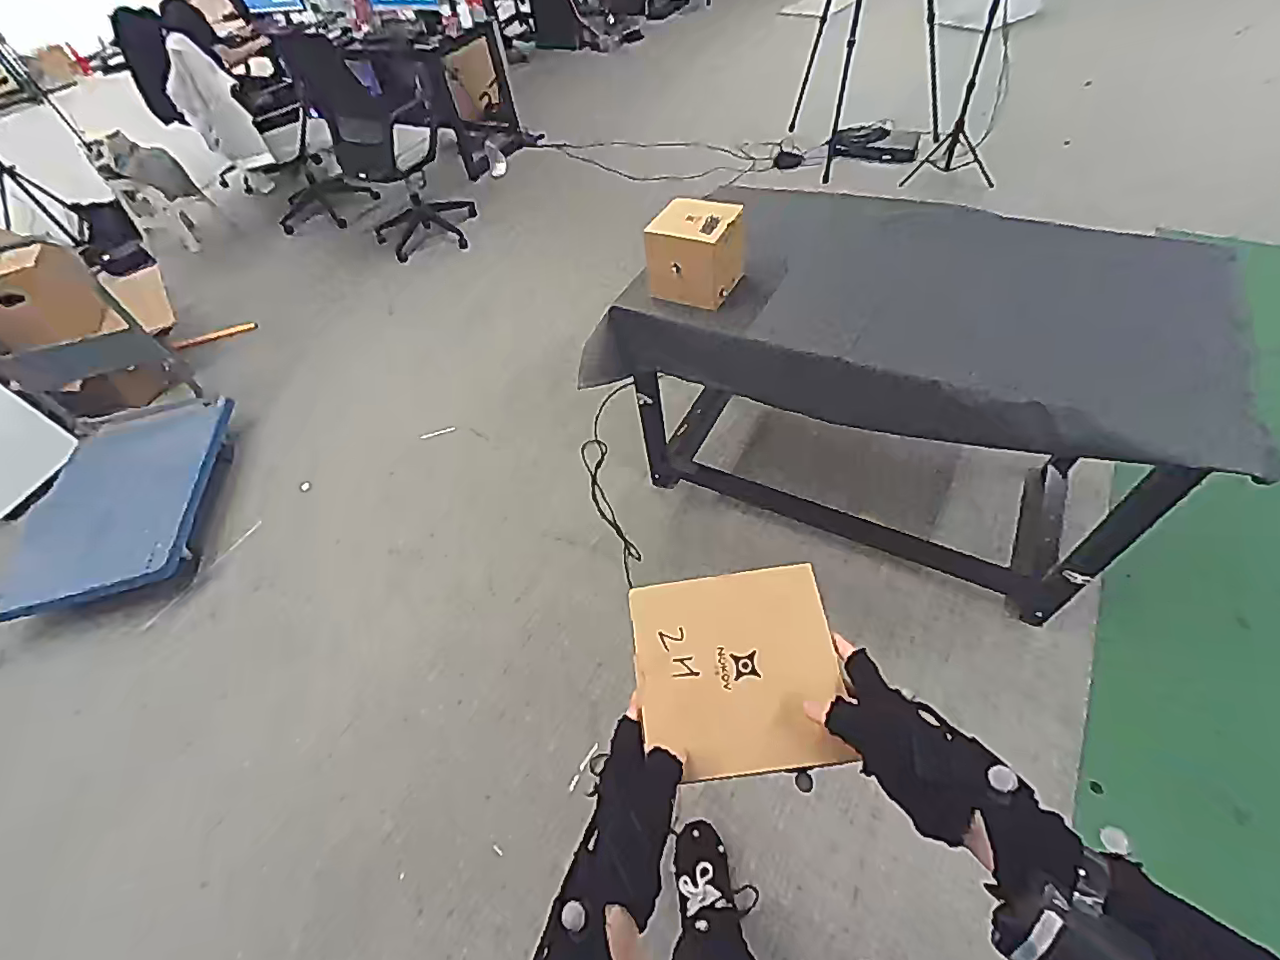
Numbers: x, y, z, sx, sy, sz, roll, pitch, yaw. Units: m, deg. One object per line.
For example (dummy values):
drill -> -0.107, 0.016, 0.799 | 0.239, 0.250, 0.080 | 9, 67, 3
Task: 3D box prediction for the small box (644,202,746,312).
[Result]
small box -> 0.132, -0.516, 1.256 | 0.179, 0.176, 0.168 | 21, 57, 23
